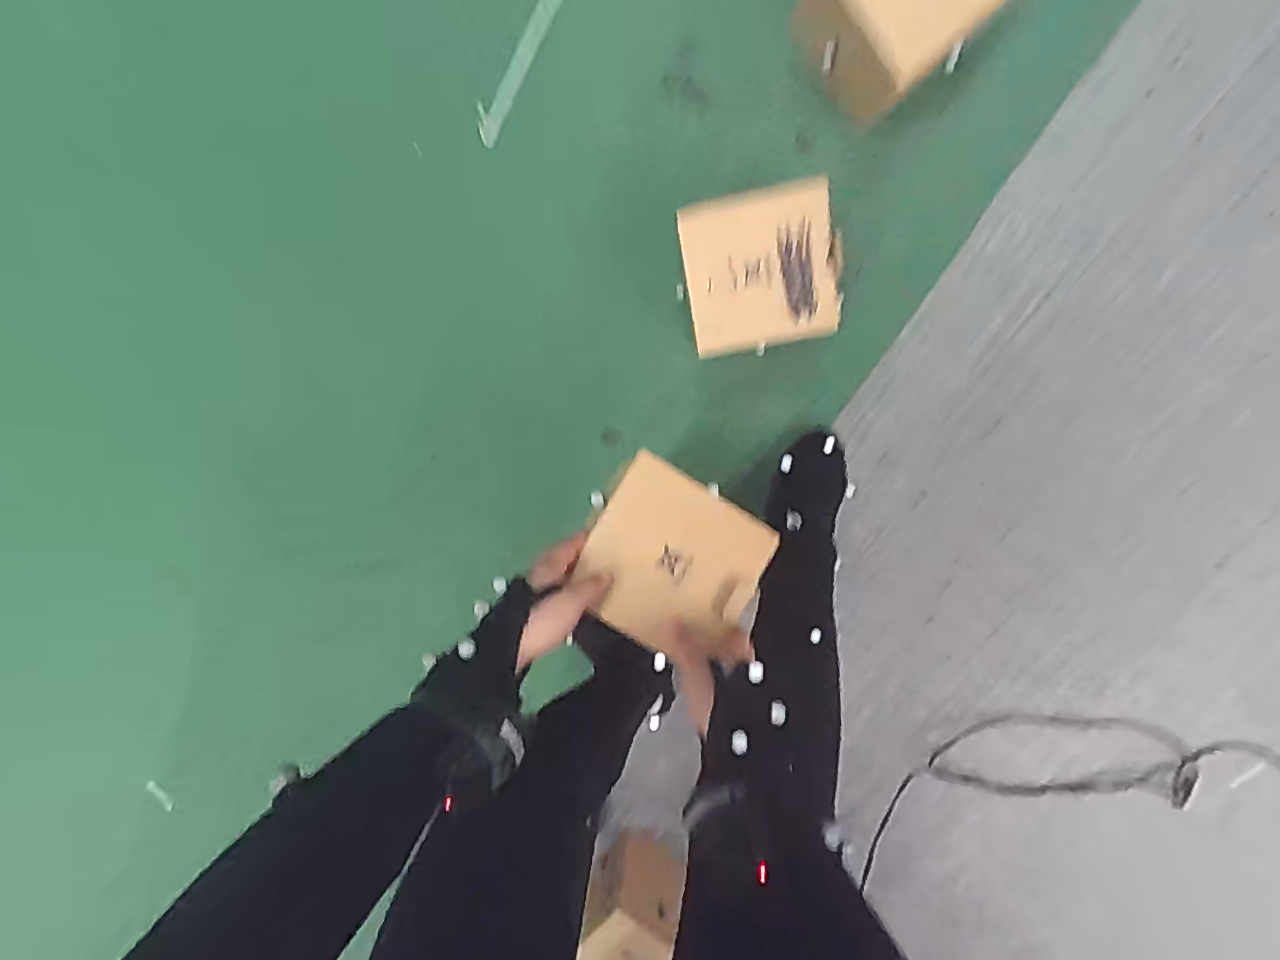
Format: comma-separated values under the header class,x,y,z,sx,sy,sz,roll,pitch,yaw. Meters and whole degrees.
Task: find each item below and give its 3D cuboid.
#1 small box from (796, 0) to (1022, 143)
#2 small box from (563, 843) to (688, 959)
class,x,y,z,sx,sy,sz,roll,pitch,yaw
small box,0.306,-0.549,0.643,0.179,0.176,0.168,-37,100,11
small box,-0.020,0.845,1.028,0.179,0.176,0.168,38,103,-5
